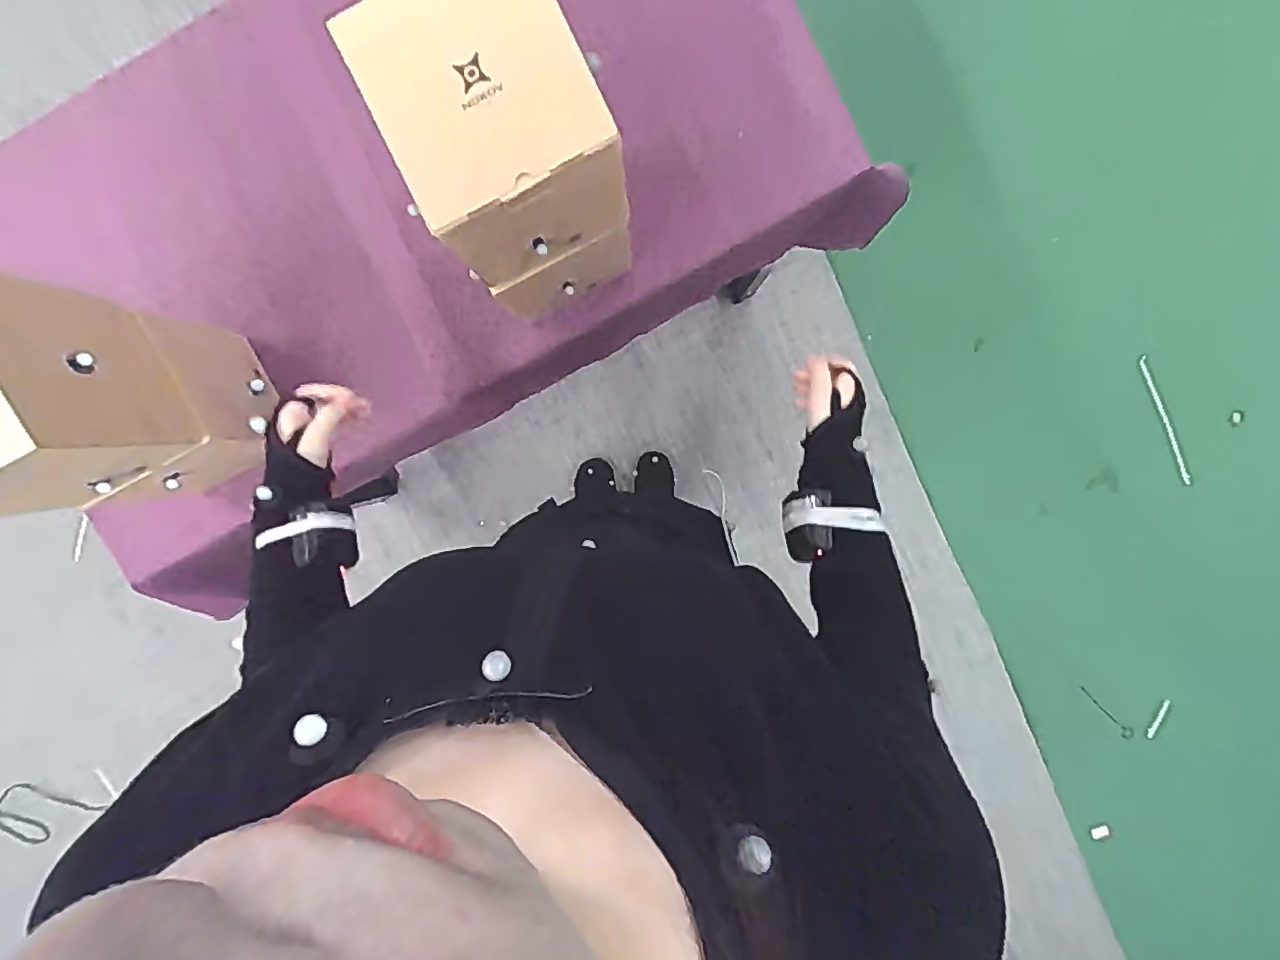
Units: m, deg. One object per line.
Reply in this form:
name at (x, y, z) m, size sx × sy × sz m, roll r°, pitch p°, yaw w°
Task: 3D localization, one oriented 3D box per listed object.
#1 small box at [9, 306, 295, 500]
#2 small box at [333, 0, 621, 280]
small box at (-0.596, -0.091, 0.687) m, size 0.179 × 0.176 × 0.168 m, roll -27°, pitch 95°, yaw 3°
small box at (-0.127, -0.314, 0.495) m, size 0.168 × 0.176 × 0.179 m, roll -26°, pitch 96°, yaw 3°
